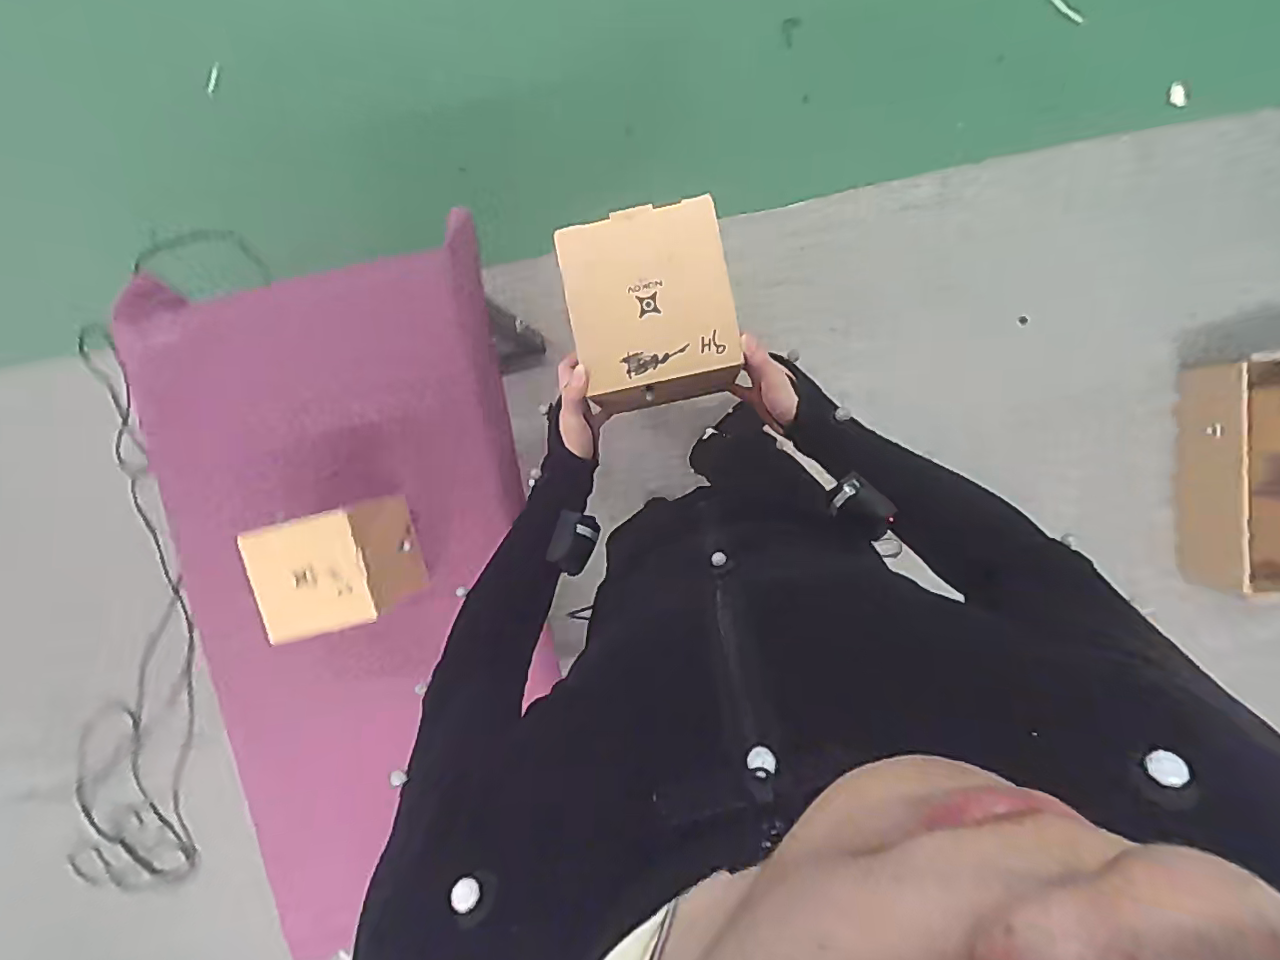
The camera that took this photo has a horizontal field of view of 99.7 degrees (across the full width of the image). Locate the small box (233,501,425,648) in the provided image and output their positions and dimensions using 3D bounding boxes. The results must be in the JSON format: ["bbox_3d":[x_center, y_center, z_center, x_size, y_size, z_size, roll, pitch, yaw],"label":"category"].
[{"bbox_3d":[-0.472,0.138,0.846,0.179,0.176,0.168,-15,95,4],"label":"small box"}]

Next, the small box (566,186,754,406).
[{"bbox_3d":[0.024,-0.191,0.611,0.168,0.176,0.179,-10,91,5],"label":"small box"}]
